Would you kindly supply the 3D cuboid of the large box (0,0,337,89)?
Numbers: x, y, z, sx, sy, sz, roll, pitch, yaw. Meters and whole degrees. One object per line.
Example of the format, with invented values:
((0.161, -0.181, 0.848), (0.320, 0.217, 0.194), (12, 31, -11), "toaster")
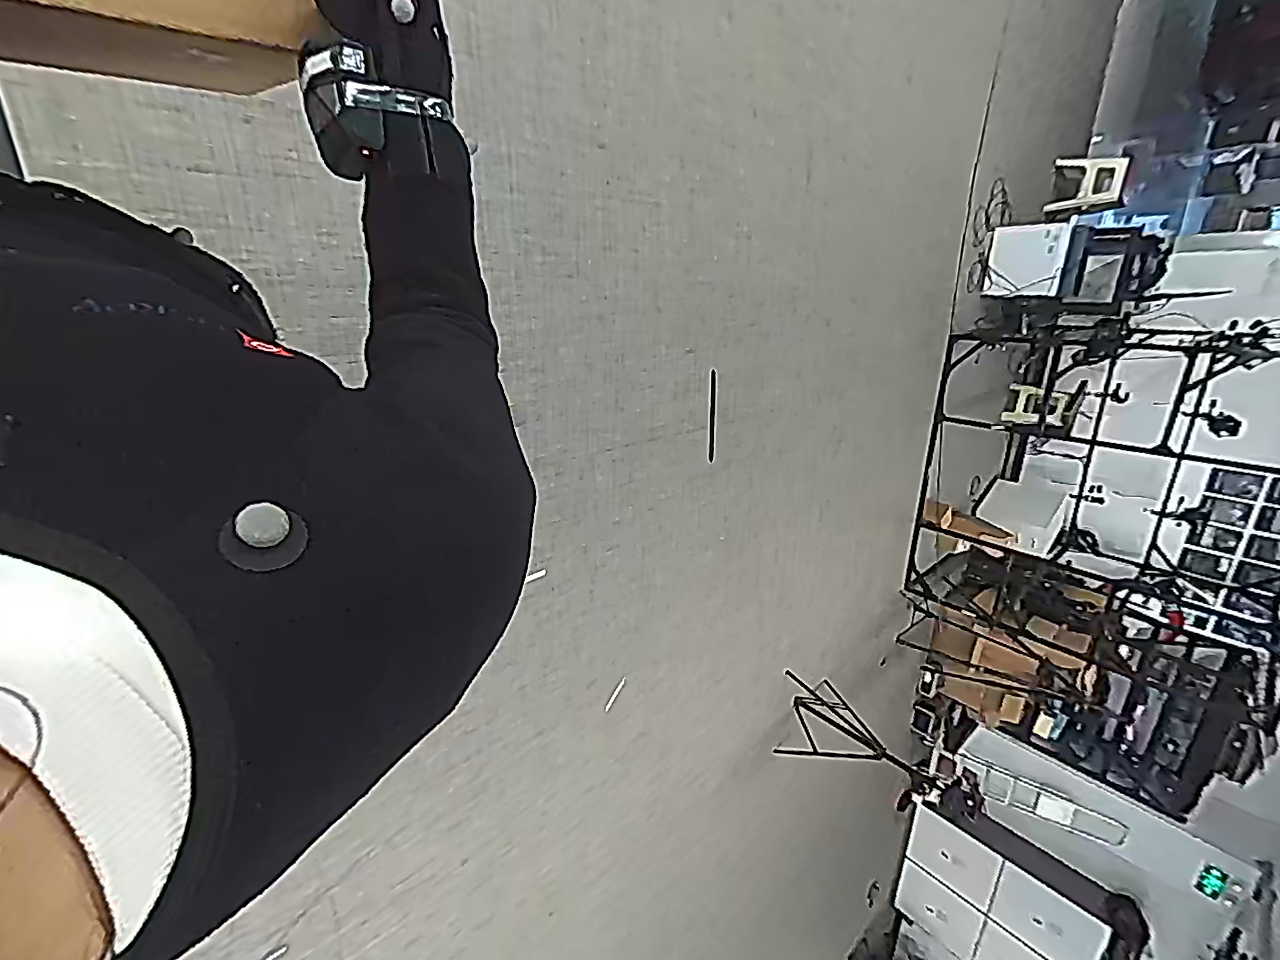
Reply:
((-0.441, -0.419, 0.266), (0.408, 0.320, 0.320), (-20, 127, -38), "large box")
